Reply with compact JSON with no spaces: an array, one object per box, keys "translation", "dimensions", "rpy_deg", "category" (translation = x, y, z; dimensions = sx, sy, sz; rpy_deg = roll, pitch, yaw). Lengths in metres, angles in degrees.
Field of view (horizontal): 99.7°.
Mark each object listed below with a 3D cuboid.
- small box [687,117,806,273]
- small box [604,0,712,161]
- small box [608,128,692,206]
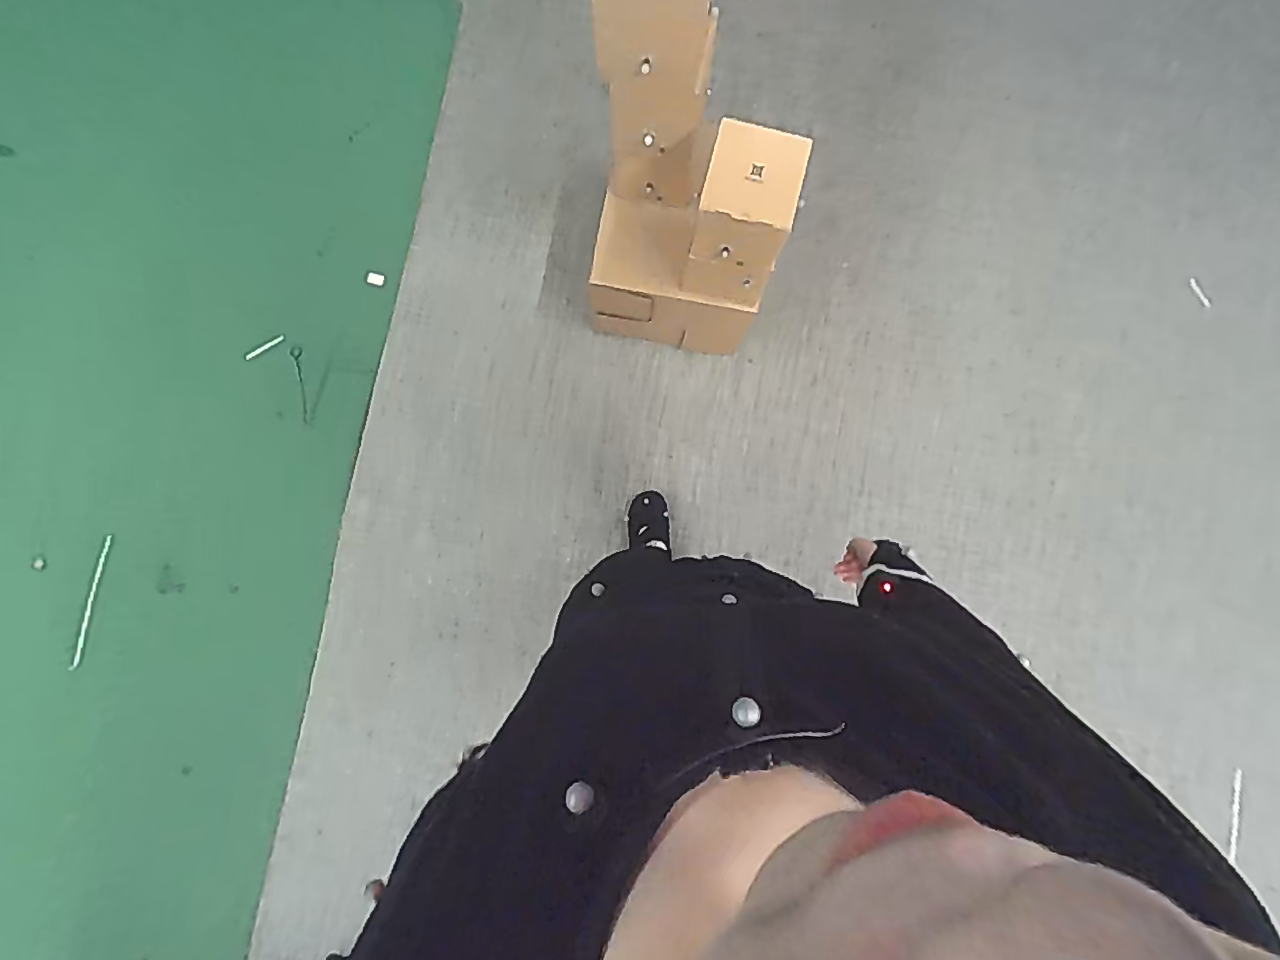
[{"translation":[0.190,-0.524,1.015],"dimensions":[0.168,0.176,0.179],"rpy_deg":[14,84,0],"category":"small box"},{"translation":[0.033,-0.764,1.043],"dimensions":[0.168,0.176,0.179],"rpy_deg":[12,82,2],"category":"small box"},{"translation":[0.028,-0.756,1.209],"dimensions":[0.168,0.176,0.179],"rpy_deg":[10,81,2],"category":"small box"}]
